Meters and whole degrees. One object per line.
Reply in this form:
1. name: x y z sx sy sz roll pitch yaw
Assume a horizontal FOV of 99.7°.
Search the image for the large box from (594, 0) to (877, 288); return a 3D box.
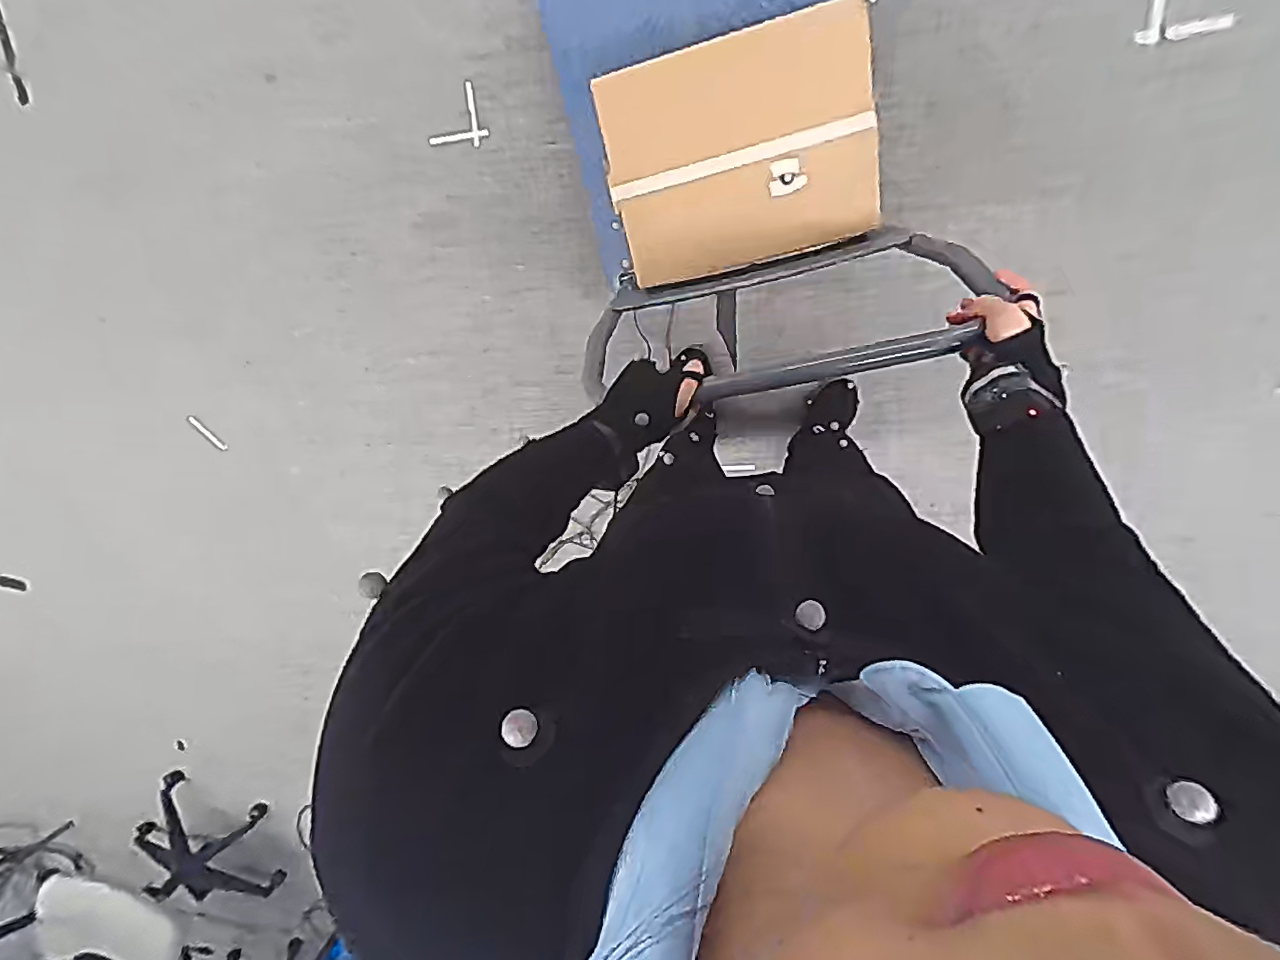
1. large box: 0.167 -0.576 0.985 0.408 0.320 0.320 -11 116 11
